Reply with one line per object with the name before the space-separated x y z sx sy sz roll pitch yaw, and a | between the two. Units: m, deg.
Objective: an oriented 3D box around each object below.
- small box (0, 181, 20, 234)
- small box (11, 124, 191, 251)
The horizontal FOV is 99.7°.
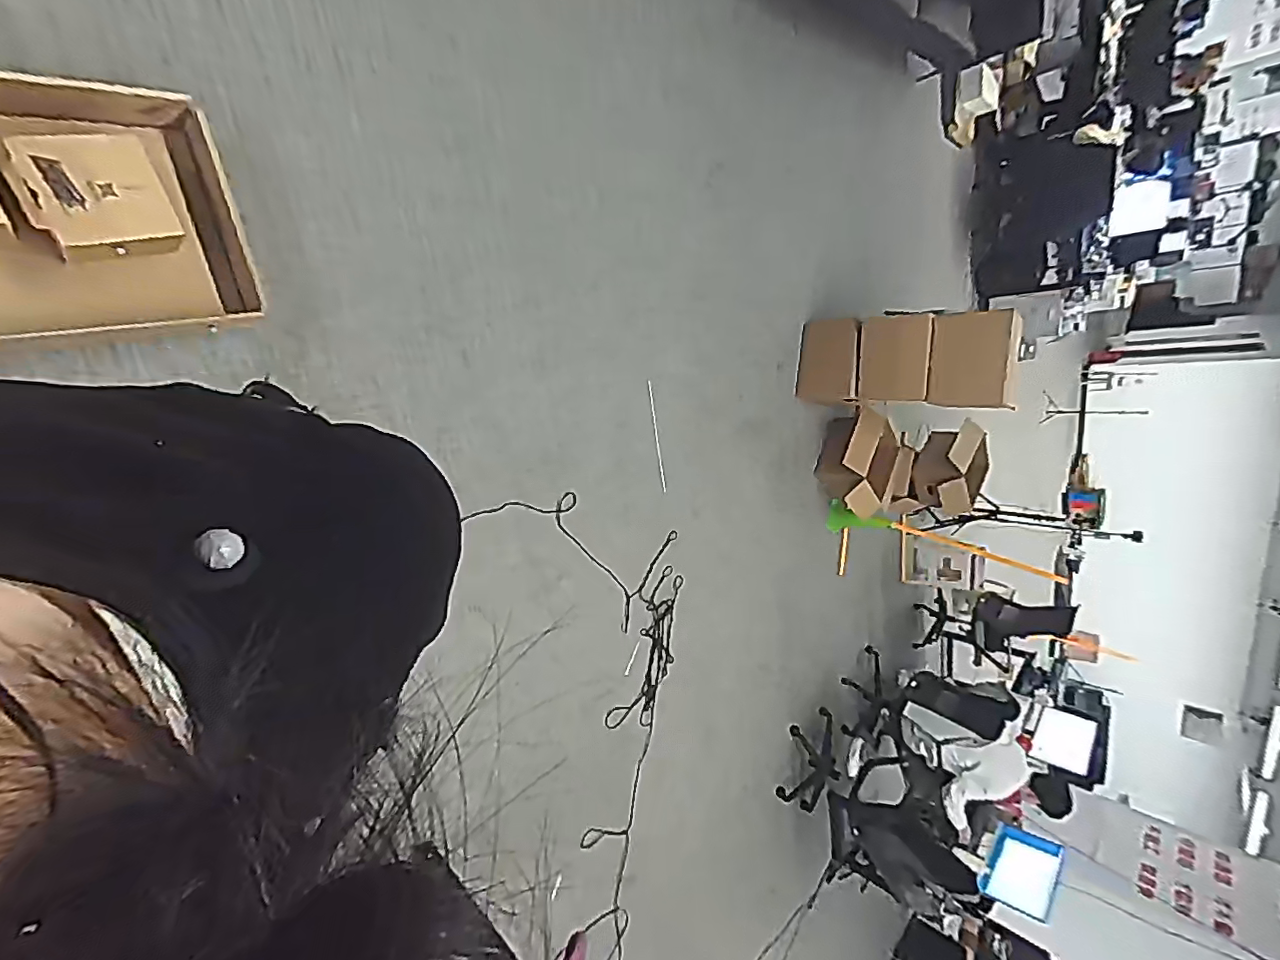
small box | -0.998 -0.433 0.730 0.168 0.176 0.179 -29 118 -40
small box | -0.960 -0.523 0.979 0.179 0.176 0.168 -30 117 -37
